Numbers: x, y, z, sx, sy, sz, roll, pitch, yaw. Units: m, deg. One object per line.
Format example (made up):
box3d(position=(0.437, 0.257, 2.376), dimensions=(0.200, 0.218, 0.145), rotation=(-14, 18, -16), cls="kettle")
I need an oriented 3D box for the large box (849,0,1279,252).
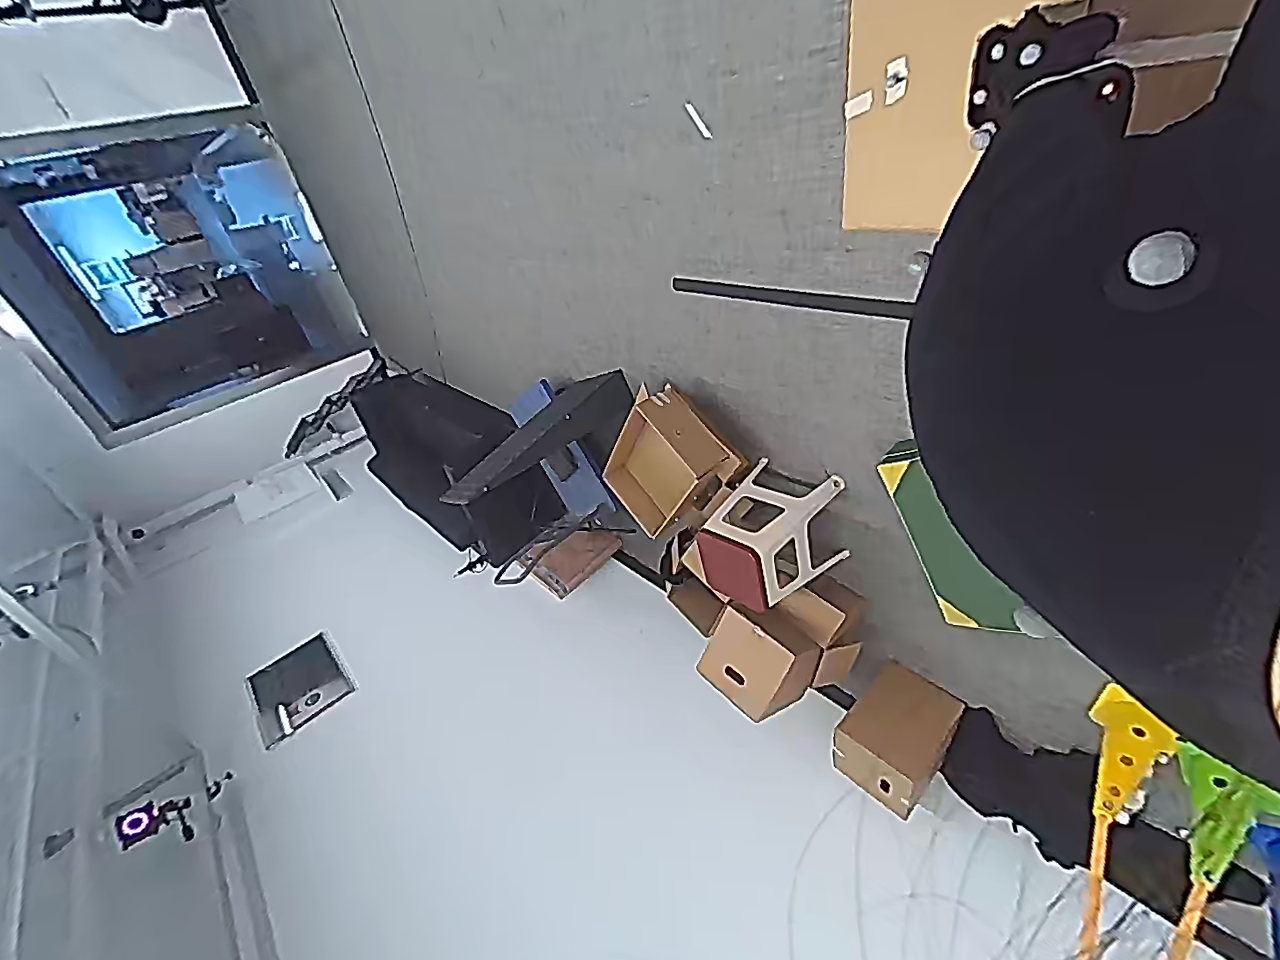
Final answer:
box3d(position=(0.543, -0.509, 0.721), dimensions=(0.320, 0.408, 0.320), rotation=(43, 147, 54), cls="large box")
